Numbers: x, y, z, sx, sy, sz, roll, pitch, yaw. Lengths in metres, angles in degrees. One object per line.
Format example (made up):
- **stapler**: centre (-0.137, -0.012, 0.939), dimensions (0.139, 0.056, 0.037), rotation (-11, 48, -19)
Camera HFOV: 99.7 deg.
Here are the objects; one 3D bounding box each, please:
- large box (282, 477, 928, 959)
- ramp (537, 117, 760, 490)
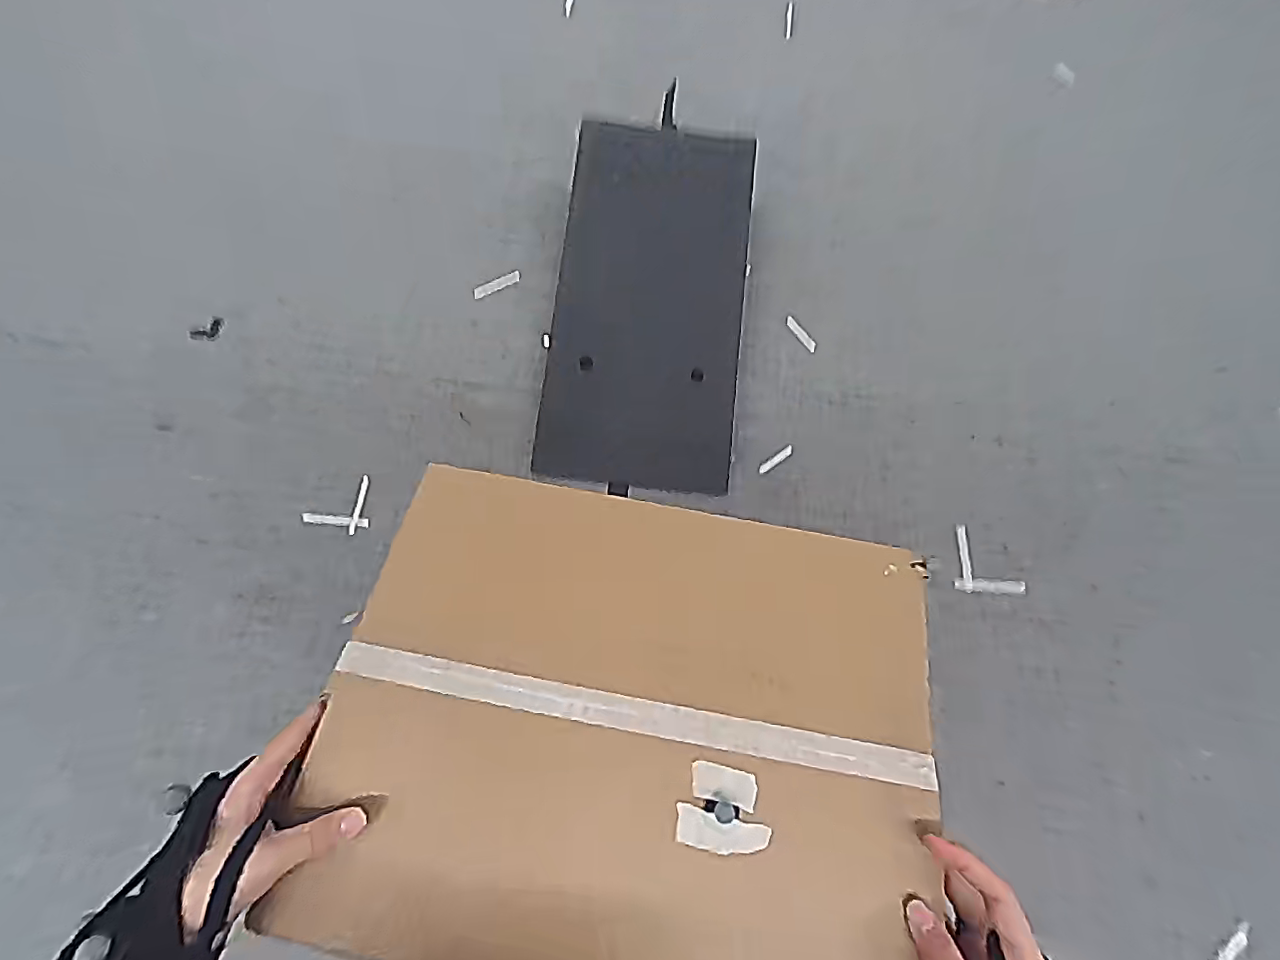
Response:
- **large box**: centre (-0.006, 0.230, 0.519), dimensions (0.408, 0.320, 0.320), rotation (11, 64, 3)
- **ramp**: centre (0.040, -0.487, 1.421), dimensions (0.509, 0.206, 0.991), rotation (6, 71, -2)
